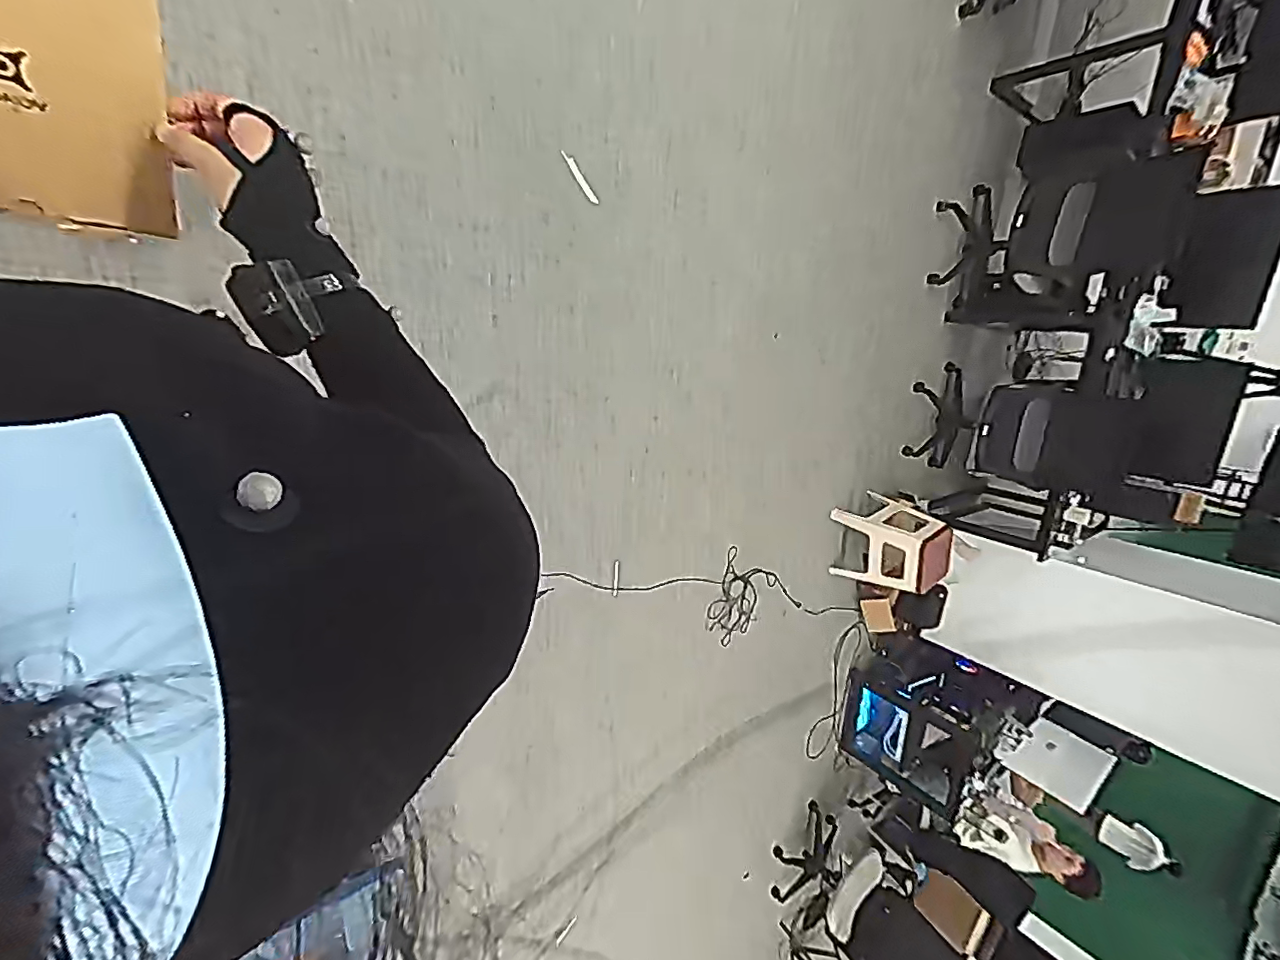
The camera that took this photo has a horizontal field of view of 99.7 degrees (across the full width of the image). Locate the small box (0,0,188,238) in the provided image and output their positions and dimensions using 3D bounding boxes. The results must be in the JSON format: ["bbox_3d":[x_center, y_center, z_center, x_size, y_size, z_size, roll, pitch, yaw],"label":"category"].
[{"bbox_3d":[-0.455,-0.306,0.402,0.168,0.176,0.179,-7,125,-42],"label":"small box"}]
